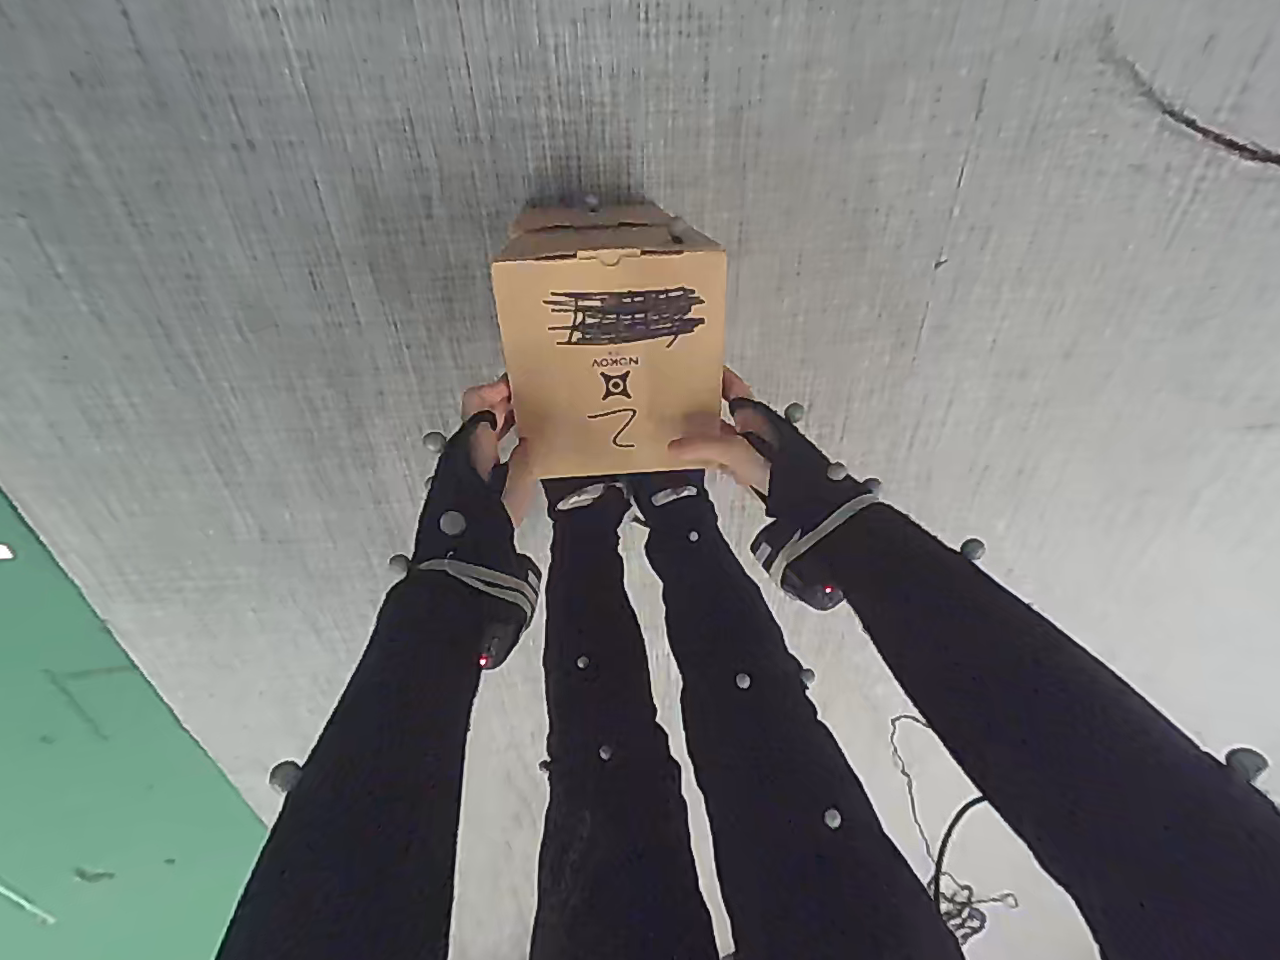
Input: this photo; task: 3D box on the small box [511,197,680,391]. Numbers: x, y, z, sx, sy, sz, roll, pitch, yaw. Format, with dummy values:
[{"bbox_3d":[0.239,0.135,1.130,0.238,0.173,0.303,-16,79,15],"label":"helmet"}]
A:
[{"bbox_3d":[-0.051,-0.220,0.631,0.168,0.176,0.179,-4,125,-6],"label":"small box"}]
